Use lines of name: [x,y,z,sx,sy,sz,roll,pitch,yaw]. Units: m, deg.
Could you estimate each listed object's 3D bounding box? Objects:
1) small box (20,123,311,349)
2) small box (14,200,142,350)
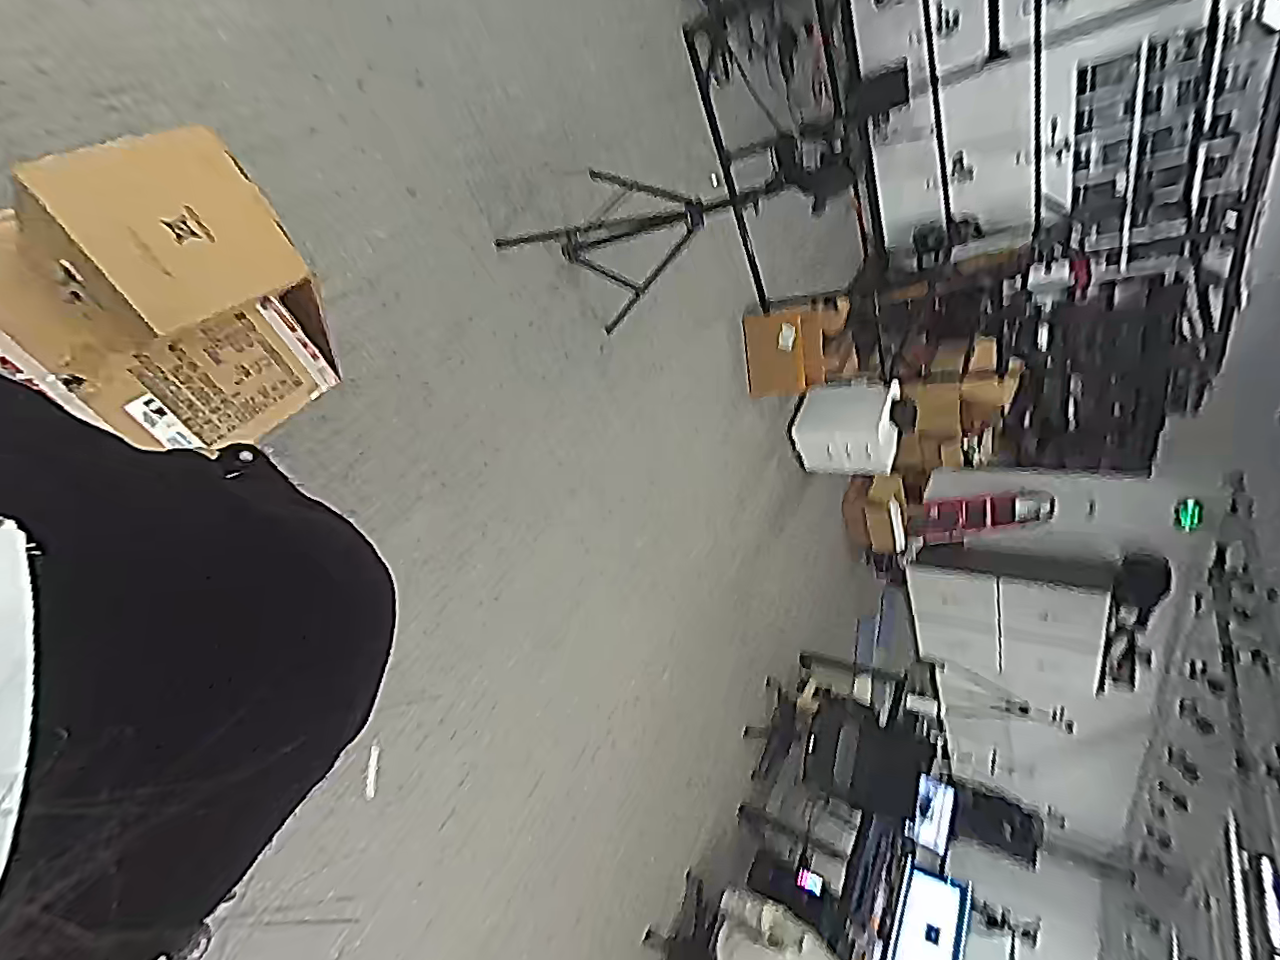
small box: [-0.527,-0.265,0.610,0.179,0.176,0.168,-47,125,-34]
small box: [-0.649,-0.287,0.716,0.179,0.176,0.168,-48,127,-34]
